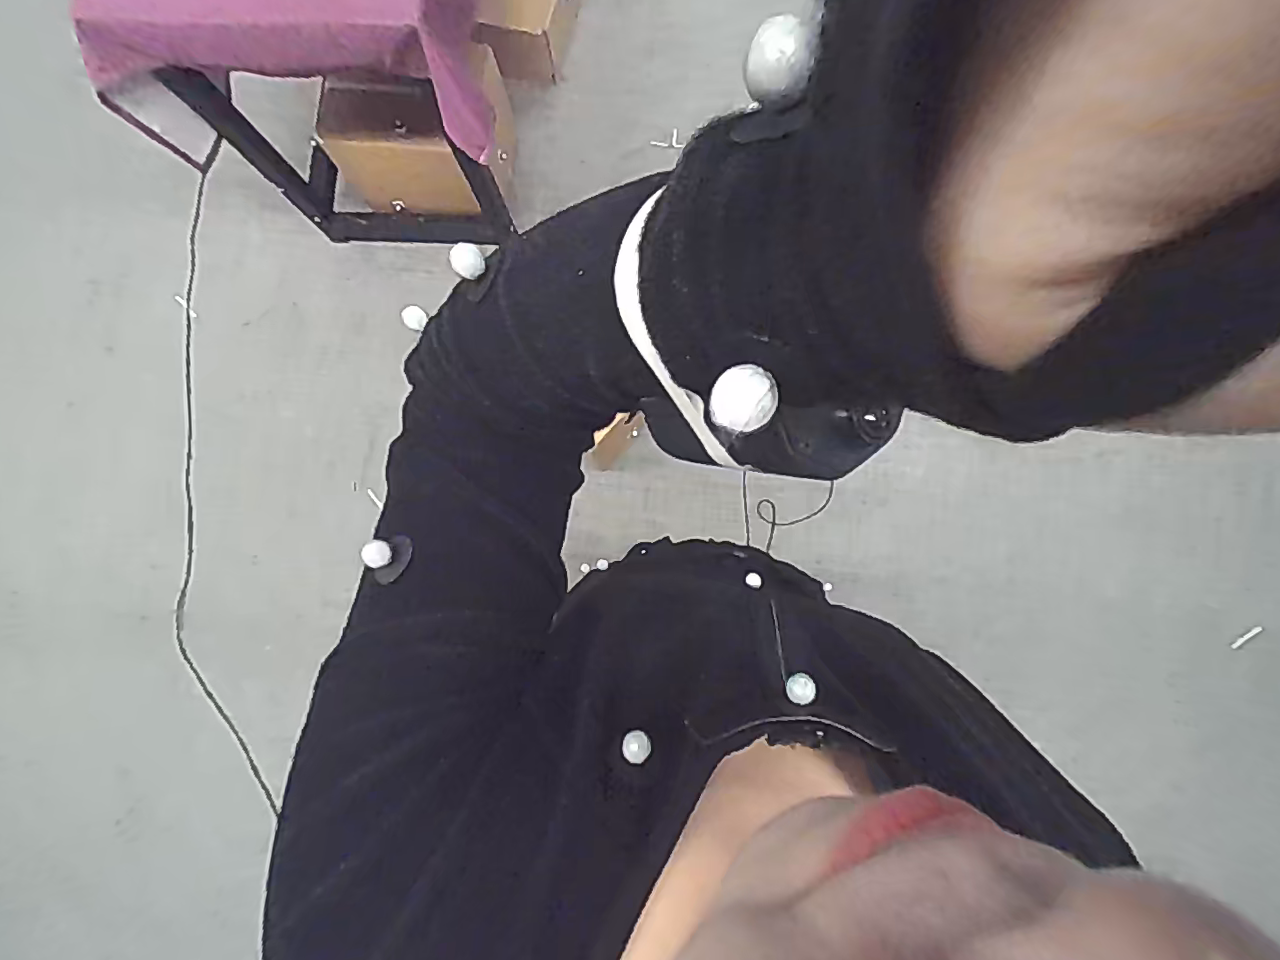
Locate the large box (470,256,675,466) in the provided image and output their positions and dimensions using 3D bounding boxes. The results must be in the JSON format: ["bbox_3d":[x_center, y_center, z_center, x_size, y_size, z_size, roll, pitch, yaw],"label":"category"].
[{"bbox_3d":[-0.155,-0.291,1.431,0.408,0.320,0.320,41,85,6],"label":"large box"}]
